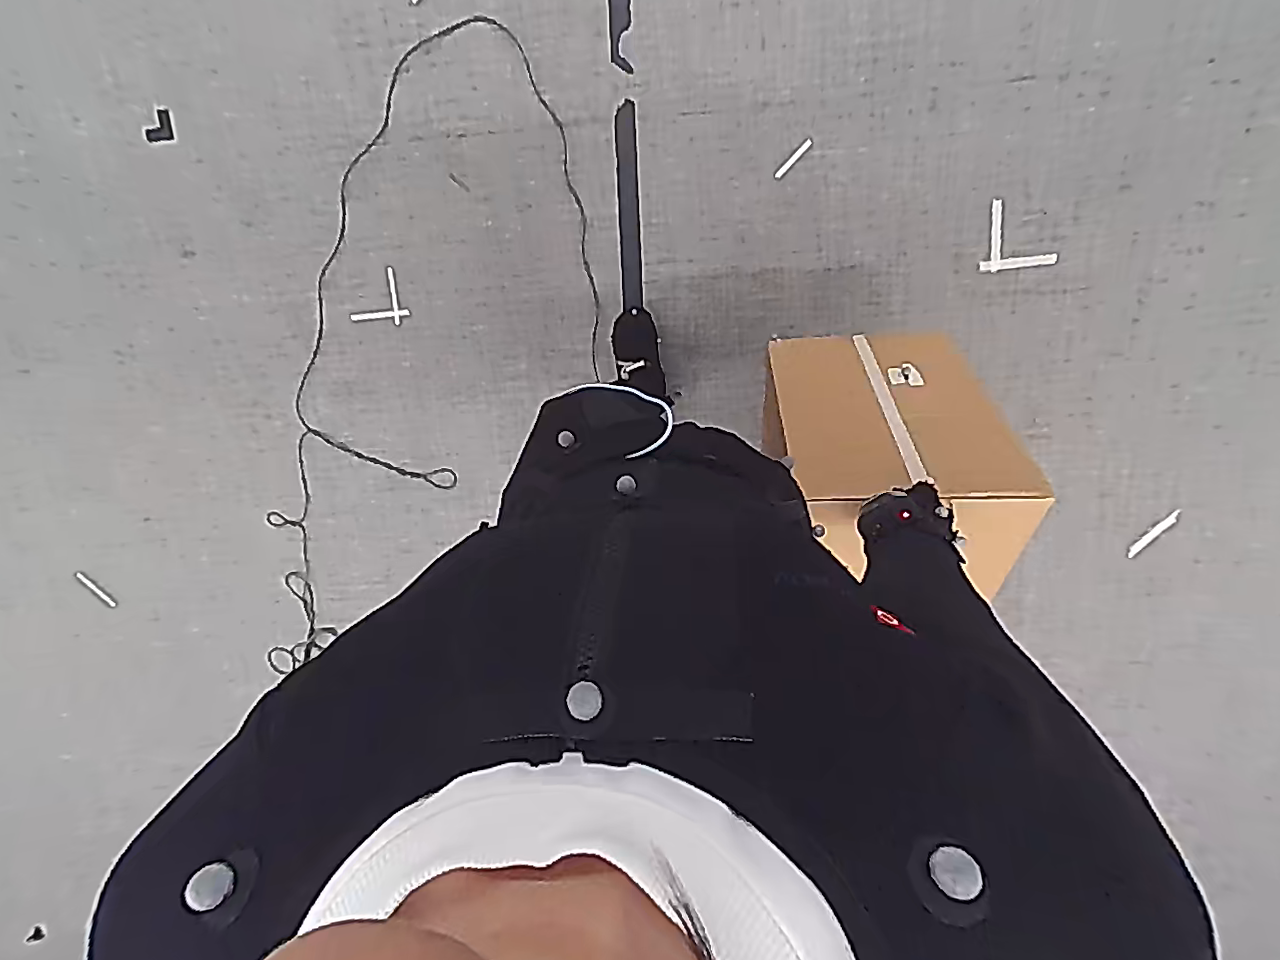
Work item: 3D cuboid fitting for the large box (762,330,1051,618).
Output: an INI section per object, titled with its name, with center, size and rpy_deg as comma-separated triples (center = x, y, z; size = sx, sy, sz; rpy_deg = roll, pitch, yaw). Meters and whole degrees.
[large box]
center = 0.392, -0.014, 0.934
size = 0.320, 0.408, 0.320
rpy_deg = -1, 134, 6
